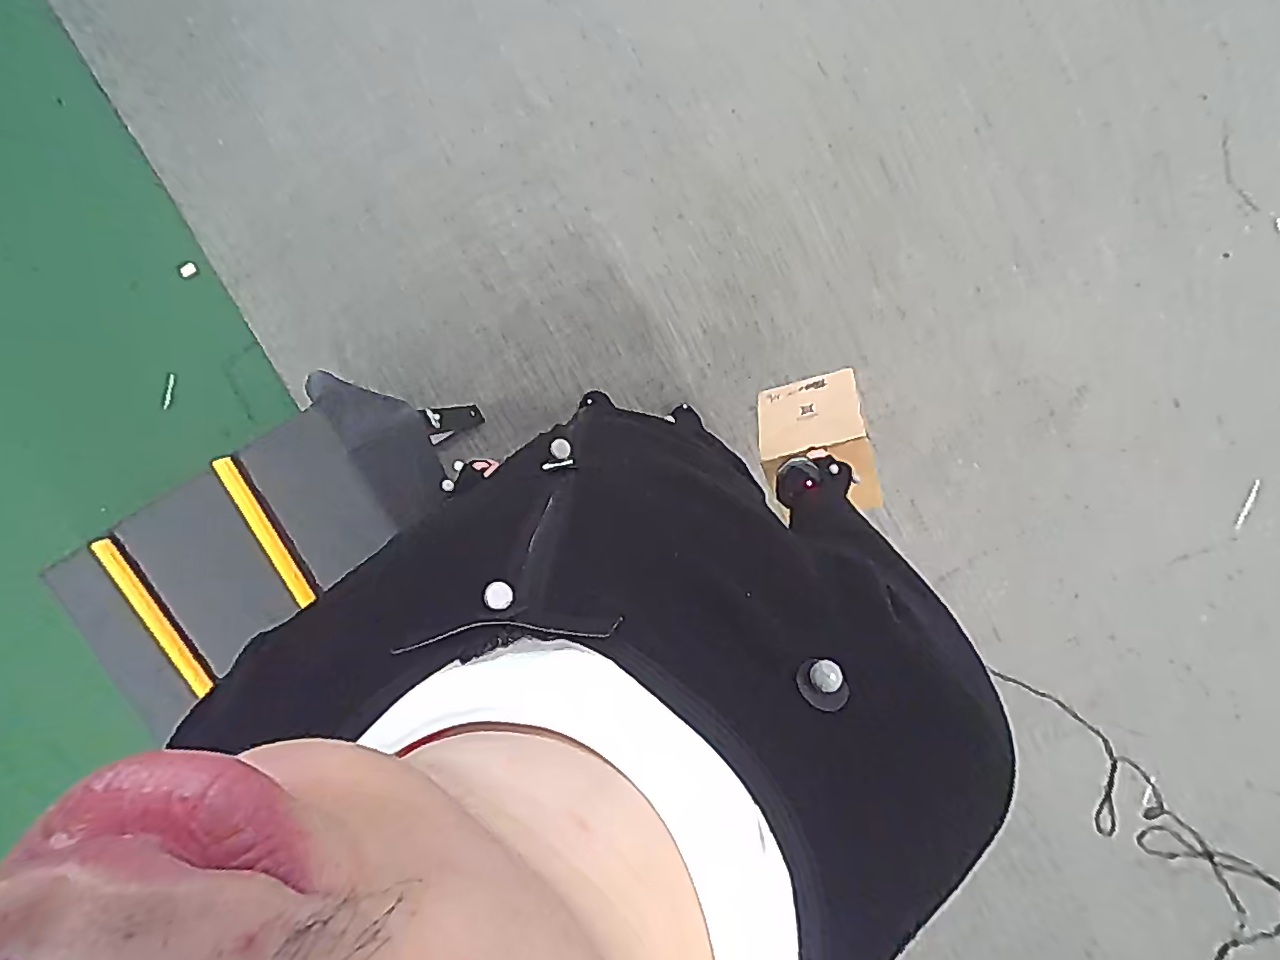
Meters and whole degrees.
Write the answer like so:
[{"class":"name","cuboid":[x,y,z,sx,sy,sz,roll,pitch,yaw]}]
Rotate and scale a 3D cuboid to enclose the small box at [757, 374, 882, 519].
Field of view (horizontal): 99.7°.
[{"class":"small box","cuboid":[0.312,-0.049,0.946,0.168,0.179,0.176,-15,133,22]}]
